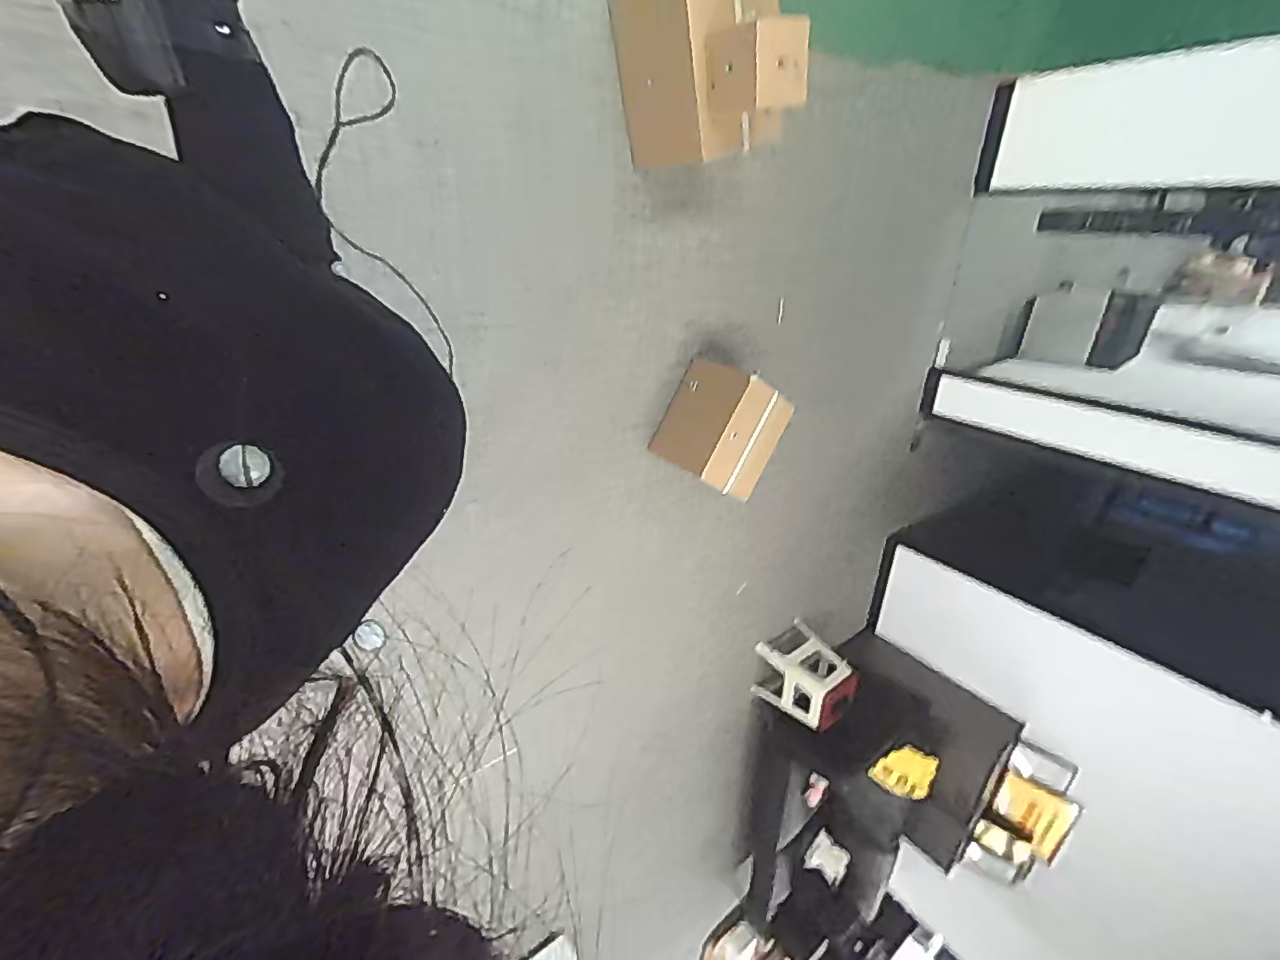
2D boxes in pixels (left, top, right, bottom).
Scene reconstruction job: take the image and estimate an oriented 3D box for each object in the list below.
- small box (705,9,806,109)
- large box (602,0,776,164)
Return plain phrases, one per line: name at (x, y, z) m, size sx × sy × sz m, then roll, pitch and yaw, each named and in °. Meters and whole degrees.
small box at (0.269, -0.999, 1.293) m, size 0.179 × 0.176 × 0.168 m, roll -26°, pitch 128°, yaw -28°
large box at (0.139, -1.126, 1.465) m, size 0.320 × 0.320 × 0.408 m, roll -32°, pitch 128°, yaw -26°
